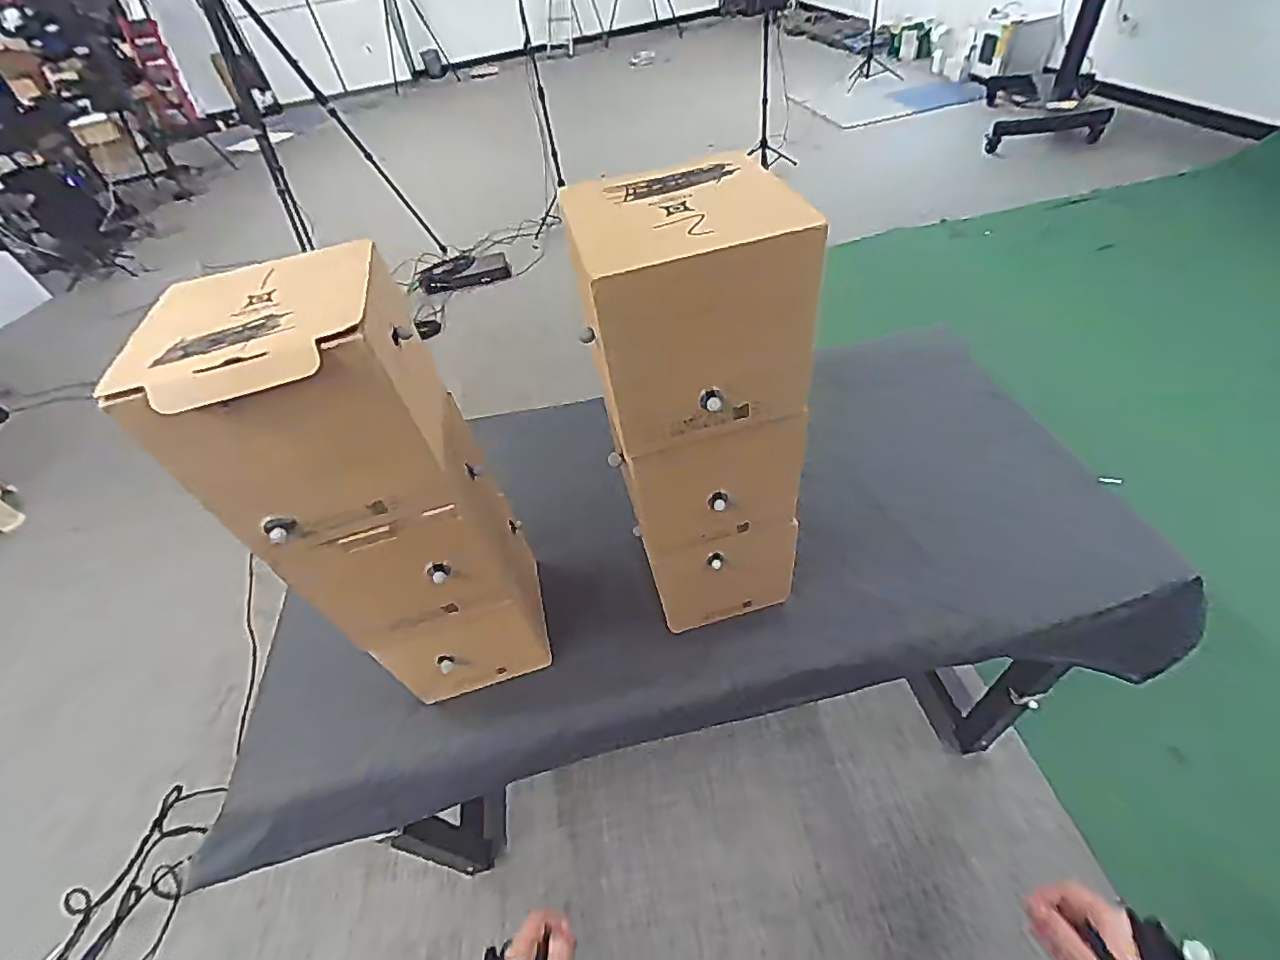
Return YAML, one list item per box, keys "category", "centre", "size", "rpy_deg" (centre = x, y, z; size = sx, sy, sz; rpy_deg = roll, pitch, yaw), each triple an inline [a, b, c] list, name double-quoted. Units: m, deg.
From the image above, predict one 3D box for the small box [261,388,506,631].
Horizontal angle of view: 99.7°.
- category: "small box"
  centre: [-0.248, 0.037, 0.567]
  size: [0.168, 0.176, 0.179]
  rpy_deg: [-16, 46, -7]

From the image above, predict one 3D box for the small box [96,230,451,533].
- category: "small box"
  centre: [-0.268, -0.077, 0.450]
  size: [0.168, 0.176, 0.179]
  rpy_deg: [-17, 46, -8]

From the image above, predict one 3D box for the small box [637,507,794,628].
- category: "small box"
  centre: [0.085, 0.063, 0.711]
  size: [0.168, 0.176, 0.179]
  rpy_deg: [-15, 46, -4]

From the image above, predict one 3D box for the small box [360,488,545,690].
- category: "small box"
  centre: [-0.228, 0.144, 0.688]
  size: [0.168, 0.176, 0.179]
  rpy_deg: [-16, 47, -5]

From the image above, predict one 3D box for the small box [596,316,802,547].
- category: "small box"
  centre: [0.059, -0.046, 0.589]
  size: [0.168, 0.176, 0.179]
  rpy_deg: [-14, 47, -5]
